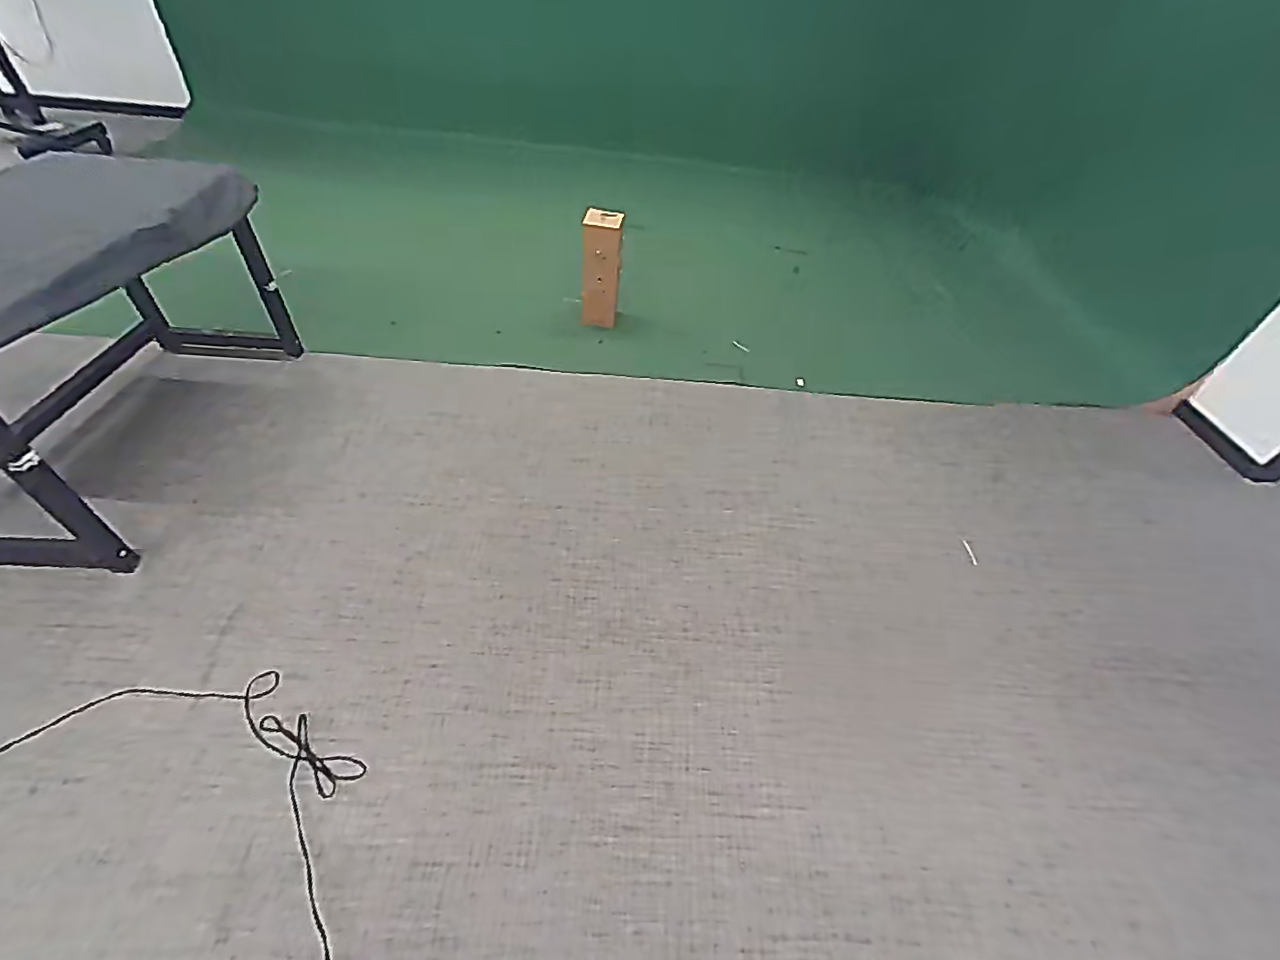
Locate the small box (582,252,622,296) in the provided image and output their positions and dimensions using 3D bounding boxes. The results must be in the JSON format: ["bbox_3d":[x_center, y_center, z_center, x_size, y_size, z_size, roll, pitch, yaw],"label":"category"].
[{"bbox_3d":[-0.184,-1.003,2.623,0.168,0.176,0.179,9,47,0],"label":"small box"}]

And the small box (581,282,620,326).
[{"bbox_3d":[-0.201,-0.896,2.720,0.168,0.176,0.179,10,45,0],"label":"small box"}]

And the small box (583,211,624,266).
[{"bbox_3d":[-0.171,-1.117,2.505,0.168,0.176,0.179,9,47,1],"label":"small box"}]
